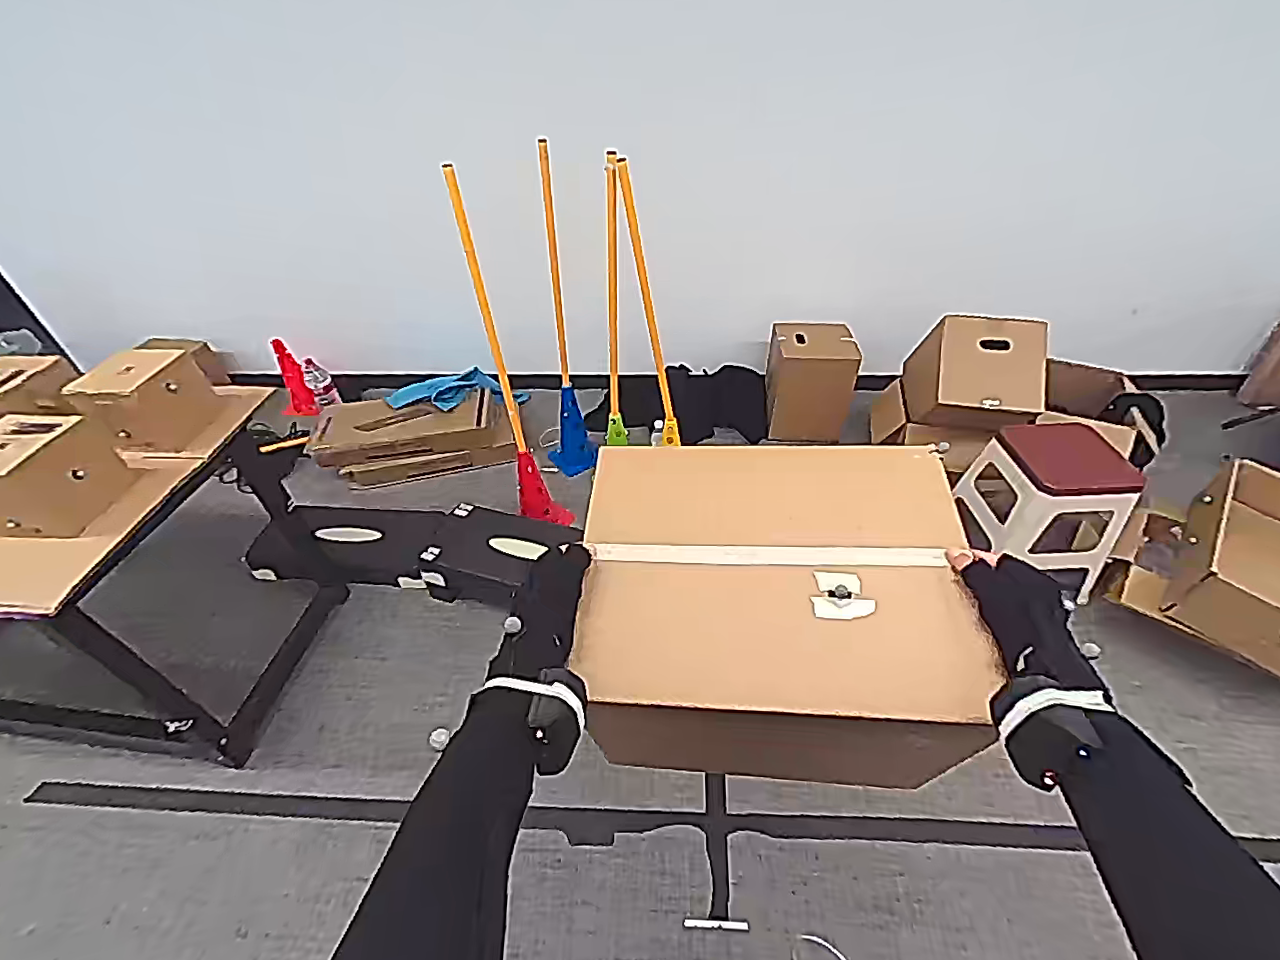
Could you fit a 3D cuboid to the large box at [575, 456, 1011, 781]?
[{"bbox_3d":[0.155,0.184,0.704,0.408,0.320,0.320,0,52,7],"label":"large box"}]
